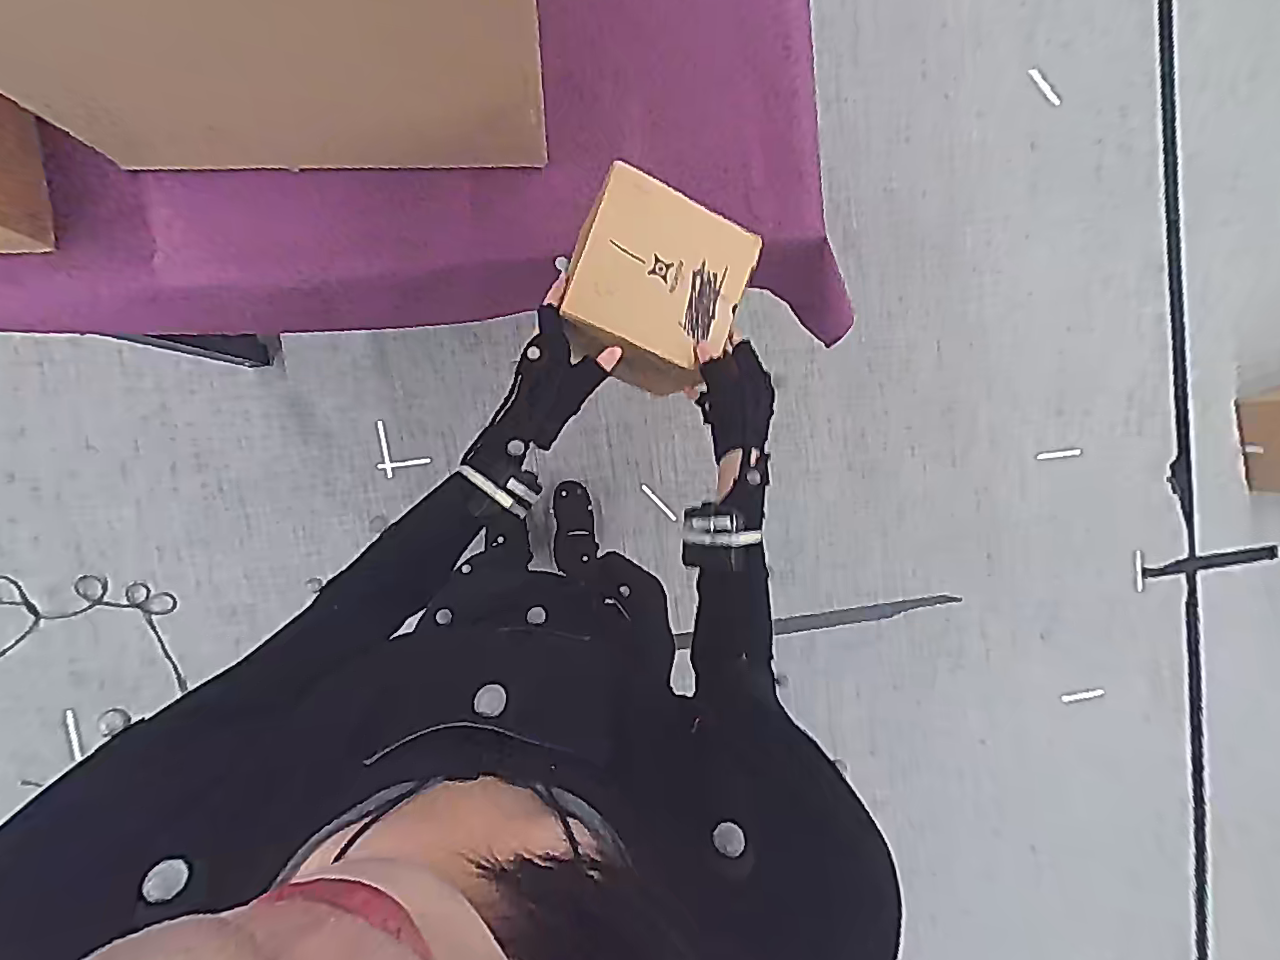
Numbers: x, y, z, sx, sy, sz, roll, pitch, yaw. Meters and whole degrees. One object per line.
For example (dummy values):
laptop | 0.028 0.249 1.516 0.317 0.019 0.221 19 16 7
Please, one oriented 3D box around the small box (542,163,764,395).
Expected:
small box | 0.005 -0.207 0.620 0.179 0.176 0.168 22 84 -17

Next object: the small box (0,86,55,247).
small box | -0.792 -0.362 0.576 0.168 0.176 0.179 -6 92 -10
